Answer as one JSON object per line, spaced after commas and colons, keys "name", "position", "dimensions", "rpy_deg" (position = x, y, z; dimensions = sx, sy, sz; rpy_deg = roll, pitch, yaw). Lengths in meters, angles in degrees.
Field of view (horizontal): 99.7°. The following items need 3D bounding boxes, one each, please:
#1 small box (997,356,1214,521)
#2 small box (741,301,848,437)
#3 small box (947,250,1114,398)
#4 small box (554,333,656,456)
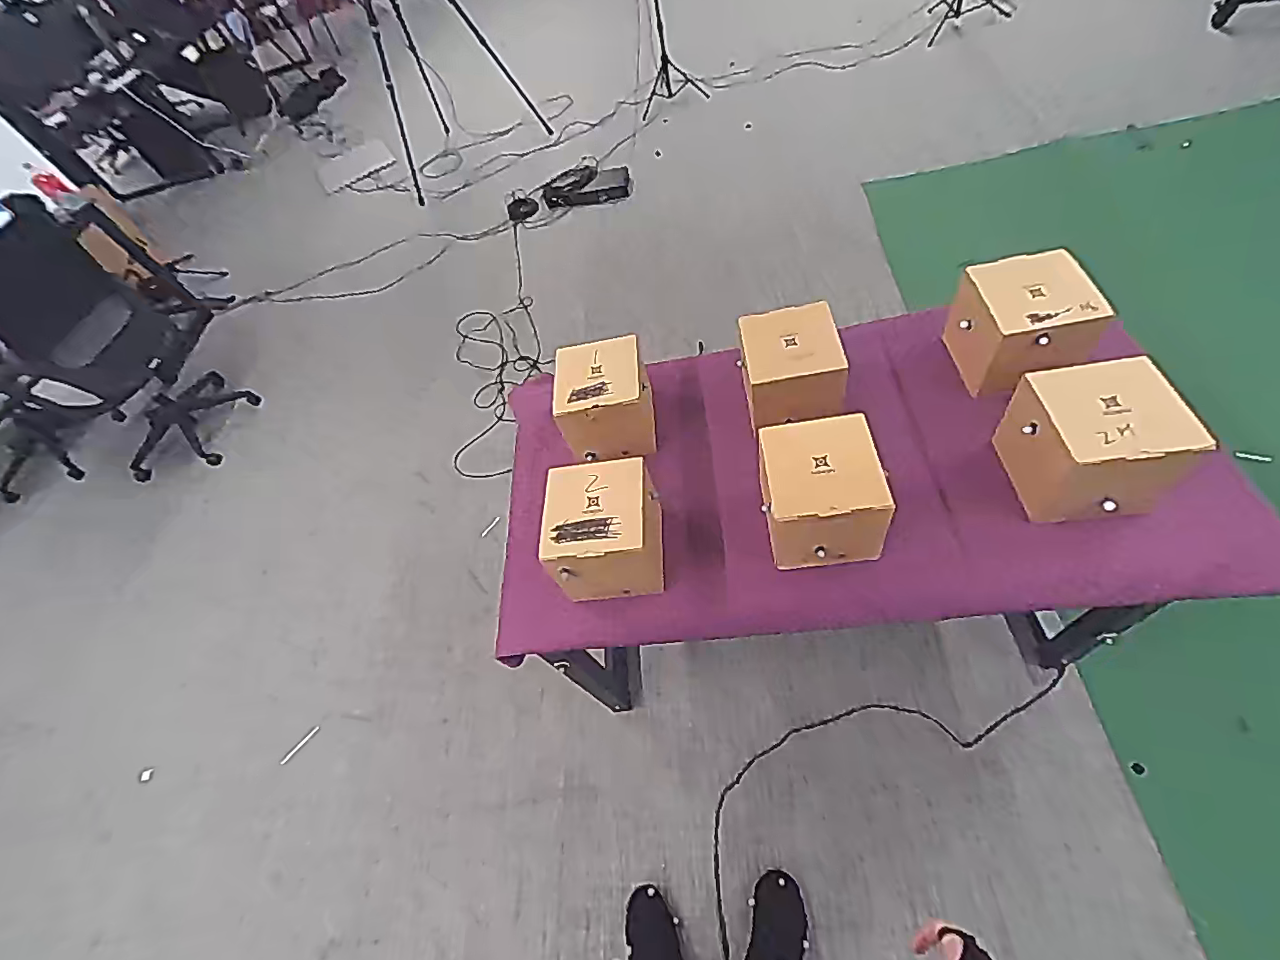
{"name": "small box", "position": [0.679, -0.058, 0.822], "dimensions": [0.168, 0.176, 0.179], "rpy_deg": [-7, 54, 11]}
{"name": "small box", "position": [0.287, -0.207, 1.030], "dimensions": [0.168, 0.176, 0.179], "rpy_deg": [-8, 56, 10]}
{"name": "small box", "position": [0.678, -0.275, 0.969], "dimensions": [0.168, 0.176, 0.179], "rpy_deg": [-9, 56, 10]}
{"name": "small box", "position": [-0.064, -0.162, 1.089], "dimensions": [0.168, 0.176, 0.179], "rpy_deg": [-8, 55, 9]}
